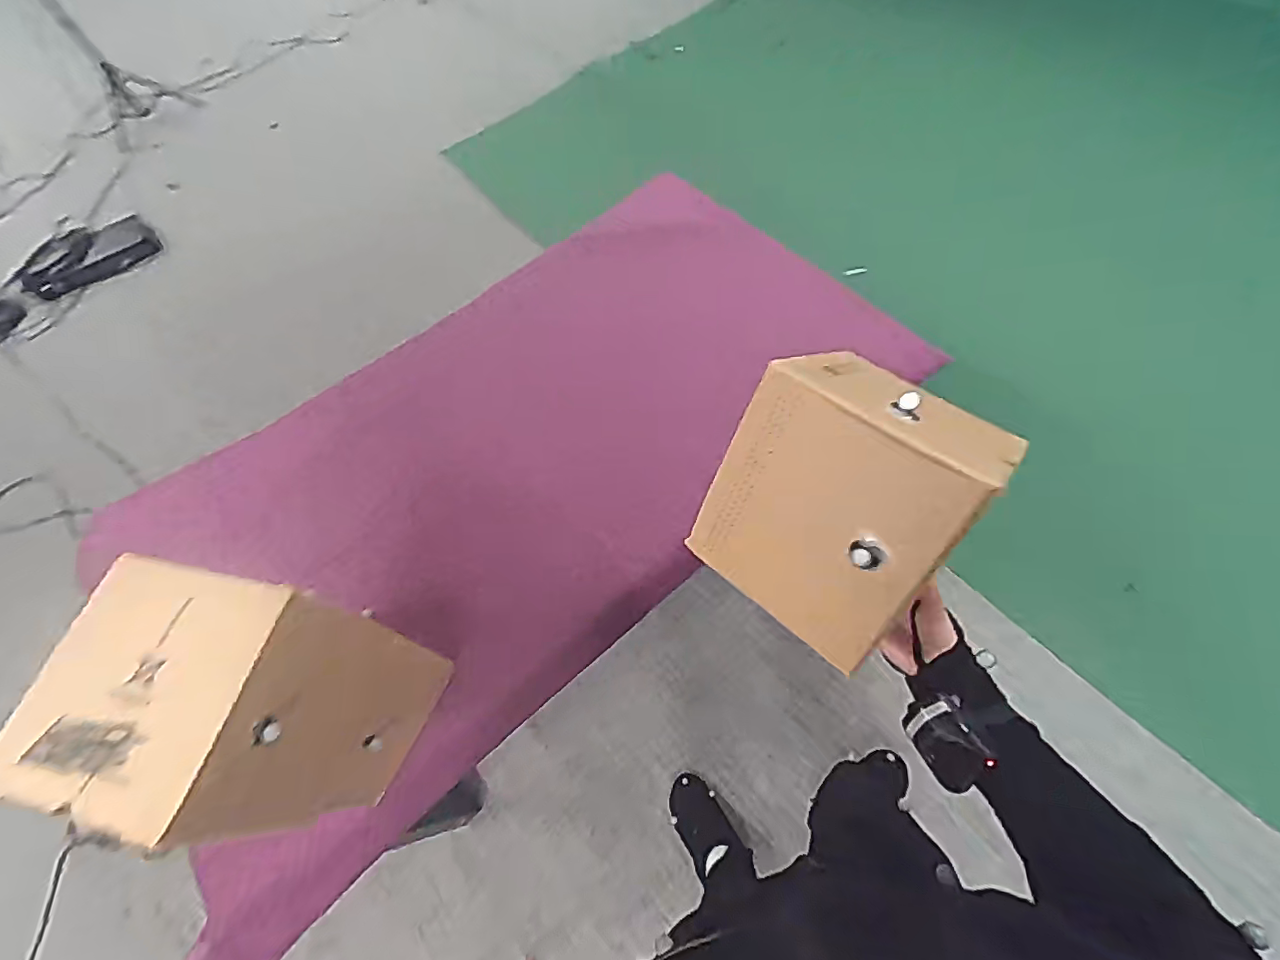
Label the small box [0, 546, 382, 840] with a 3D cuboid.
[{"bbox_3d":[-0.361,0.179,0.467,0.168,0.176,0.179,9,63,10],"label":"small box"}]

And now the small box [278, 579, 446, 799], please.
[{"bbox_3d":[-0.356,0.243,0.620,0.168,0.176,0.179,21,67,15],"label":"small box"}]

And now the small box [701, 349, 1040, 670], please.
[{"bbox_3d":[0.177,0.006,0.436,0.176,0.179,0.168,39,33,25],"label":"small box"}]
